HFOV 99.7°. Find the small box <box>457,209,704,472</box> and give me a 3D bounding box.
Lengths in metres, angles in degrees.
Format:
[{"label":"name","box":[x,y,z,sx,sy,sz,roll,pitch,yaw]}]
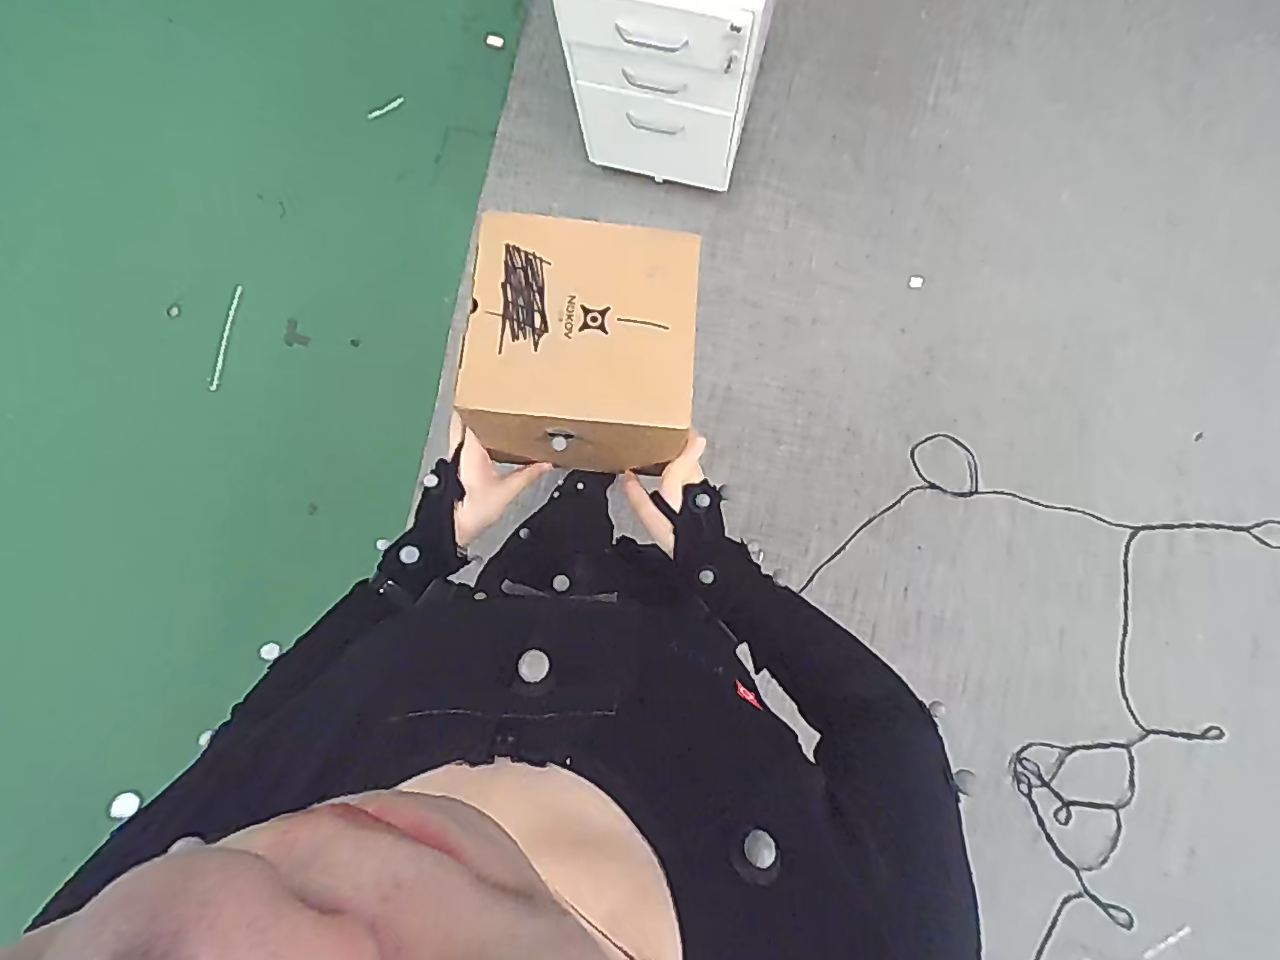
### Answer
[{"label":"small box","box":[-0.047,-0.109,0.491,0.179,0.176,0.168,6,78,-4]}]
